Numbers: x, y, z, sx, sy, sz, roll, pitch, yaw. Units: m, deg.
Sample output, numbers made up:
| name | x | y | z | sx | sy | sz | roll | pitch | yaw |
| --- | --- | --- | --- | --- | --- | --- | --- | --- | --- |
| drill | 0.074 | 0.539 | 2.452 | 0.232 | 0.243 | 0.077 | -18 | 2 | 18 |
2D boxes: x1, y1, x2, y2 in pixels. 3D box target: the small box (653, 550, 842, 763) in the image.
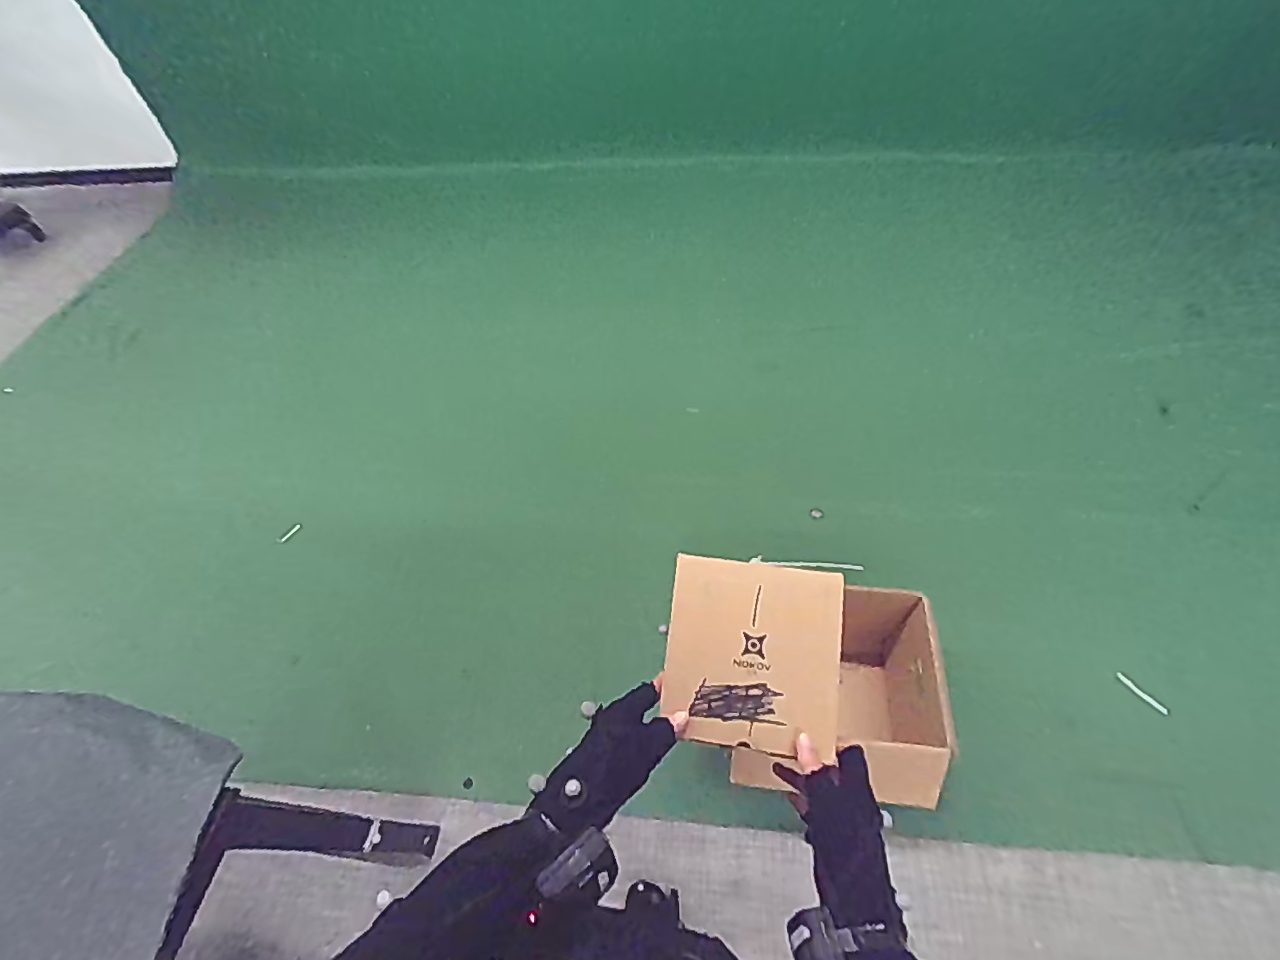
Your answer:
| name | x | y | z | sx | sy | sz | roll | pitch | yaw |
| --- | --- | --- | --- | --- | --- | --- | --- | --- | --- |
| small box | 0.113 | 0.184 | 0.597 | 0.168 | 0.176 | 0.179 | 7 | 76 | 7 |
